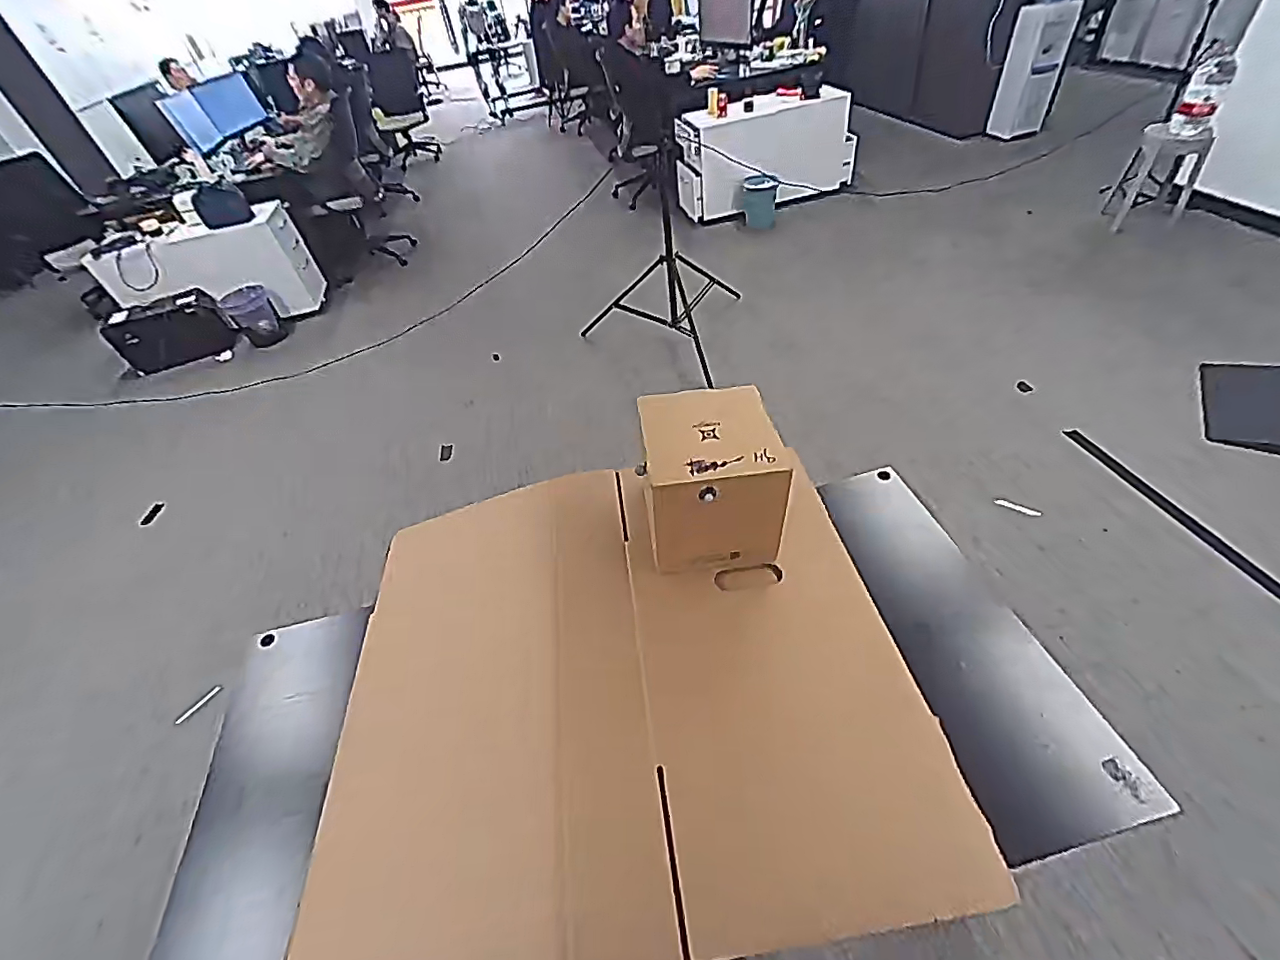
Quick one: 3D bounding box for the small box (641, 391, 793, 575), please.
[{"bbox_3d":[0.092,0.003,0.732,0.168,0.176,0.179,-7,43,-1],"label":"small box"}]
